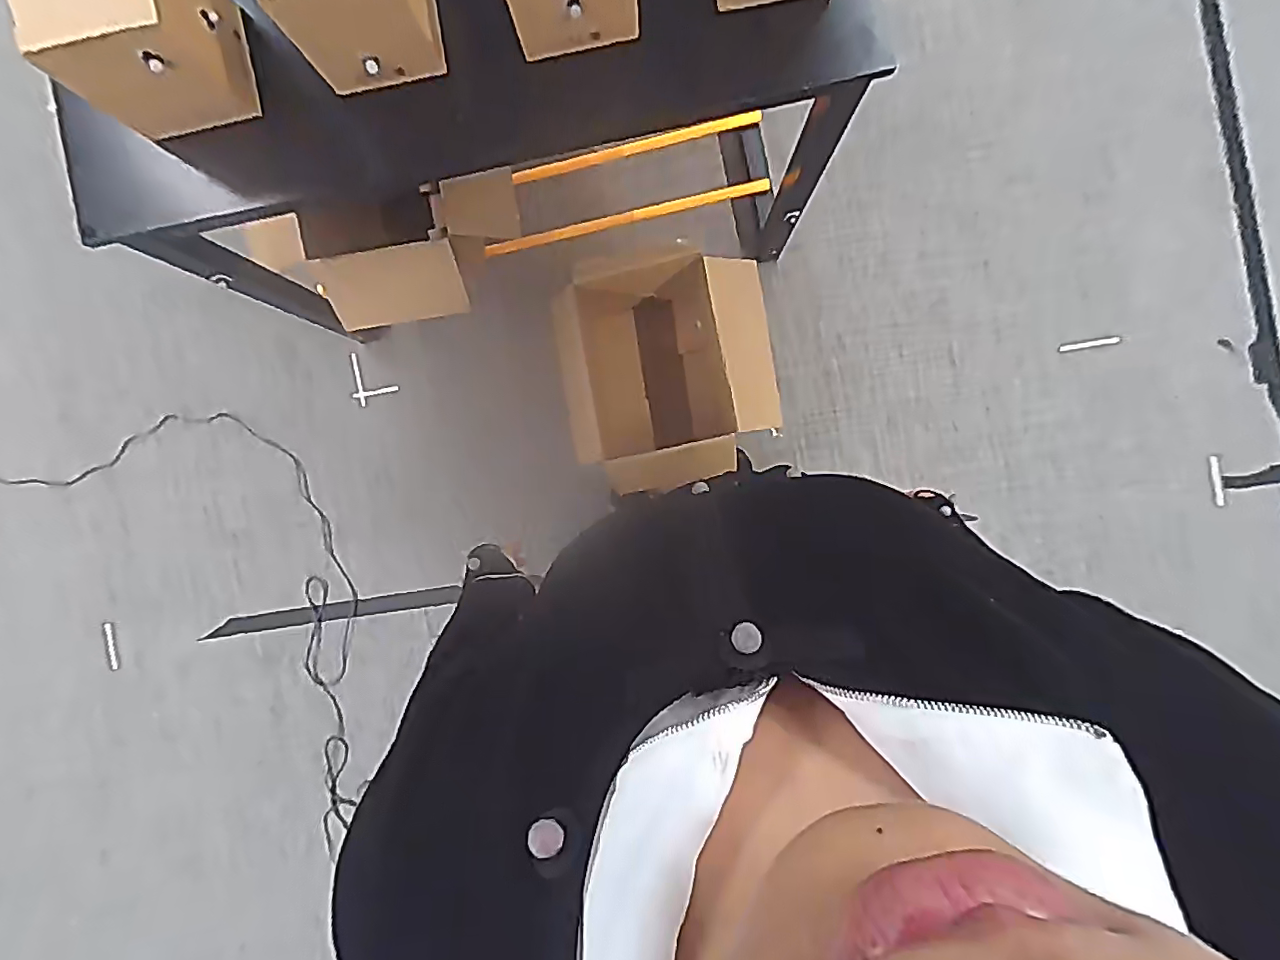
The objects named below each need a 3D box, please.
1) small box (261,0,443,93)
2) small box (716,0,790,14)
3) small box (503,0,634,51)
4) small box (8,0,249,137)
[{"bbox_3d":[-0.377,-0.653,0.699,0.168,0.176,0.179,-10,91,3],"label":"small box"},{"bbox_3d":[0.168,-0.749,0.674,0.168,0.176,0.179,-10,91,4],"label":"small box"},{"bbox_3d":[-0.104,-0.693,0.687,0.168,0.176,0.179,-10,91,3],"label":"small box"},{"bbox_3d":[-0.655,-0.593,0.710,0.179,0.176,0.168,-11,90,2],"label":"small box"}]
